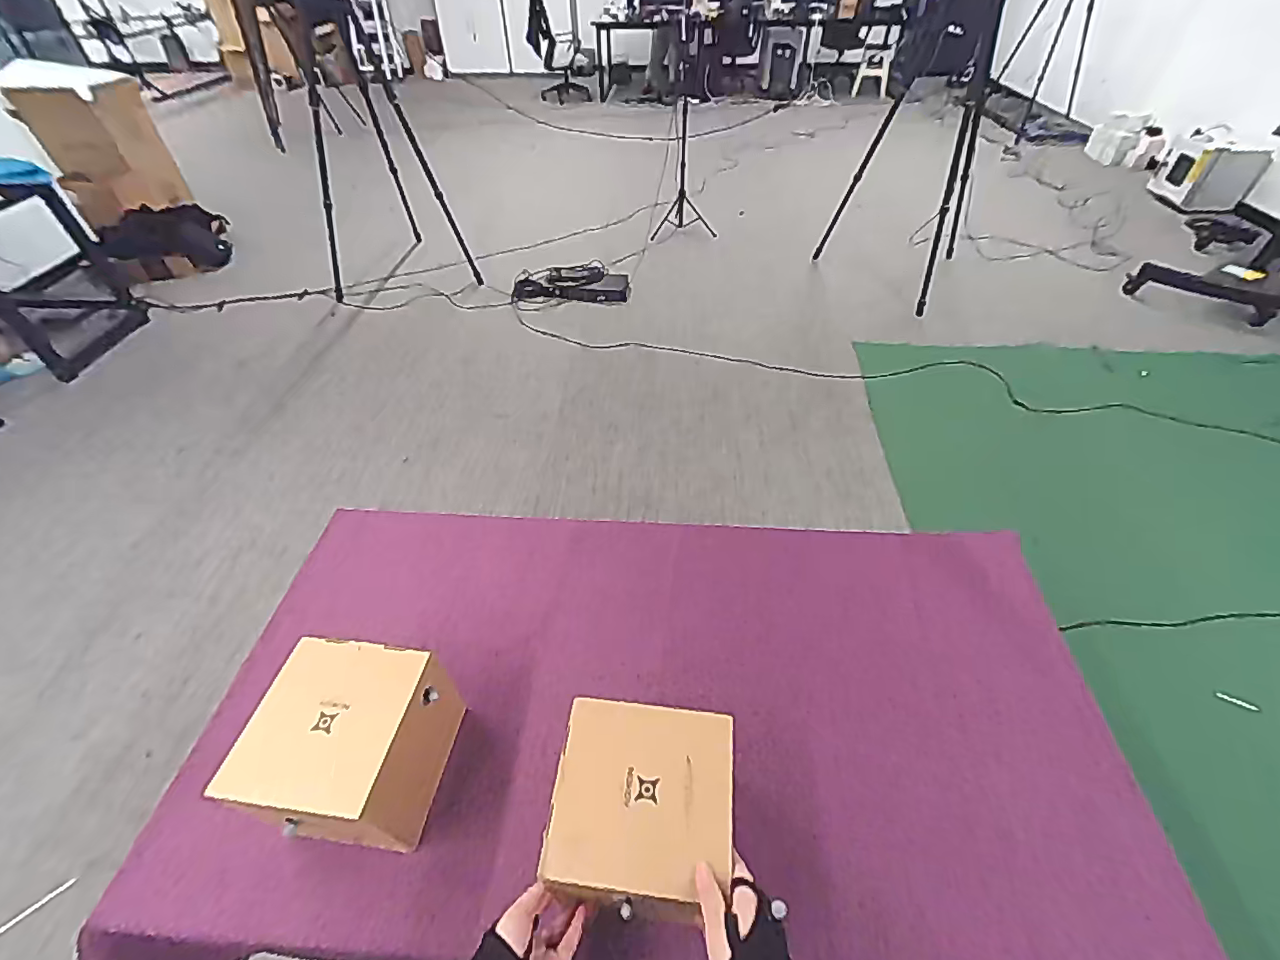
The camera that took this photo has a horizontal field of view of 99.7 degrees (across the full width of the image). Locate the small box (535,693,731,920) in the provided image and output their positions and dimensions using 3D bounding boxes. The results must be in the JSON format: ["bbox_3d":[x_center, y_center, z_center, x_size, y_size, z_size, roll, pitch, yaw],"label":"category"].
[{"bbox_3d":[0.003,0.356,0.589,0.179,0.176,0.168,5,46,6],"label":"small box"}]

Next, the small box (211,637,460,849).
[{"bbox_3d":[-0.334,0.314,0.643,0.168,0.176,0.179,5,45,6],"label":"small box"}]
